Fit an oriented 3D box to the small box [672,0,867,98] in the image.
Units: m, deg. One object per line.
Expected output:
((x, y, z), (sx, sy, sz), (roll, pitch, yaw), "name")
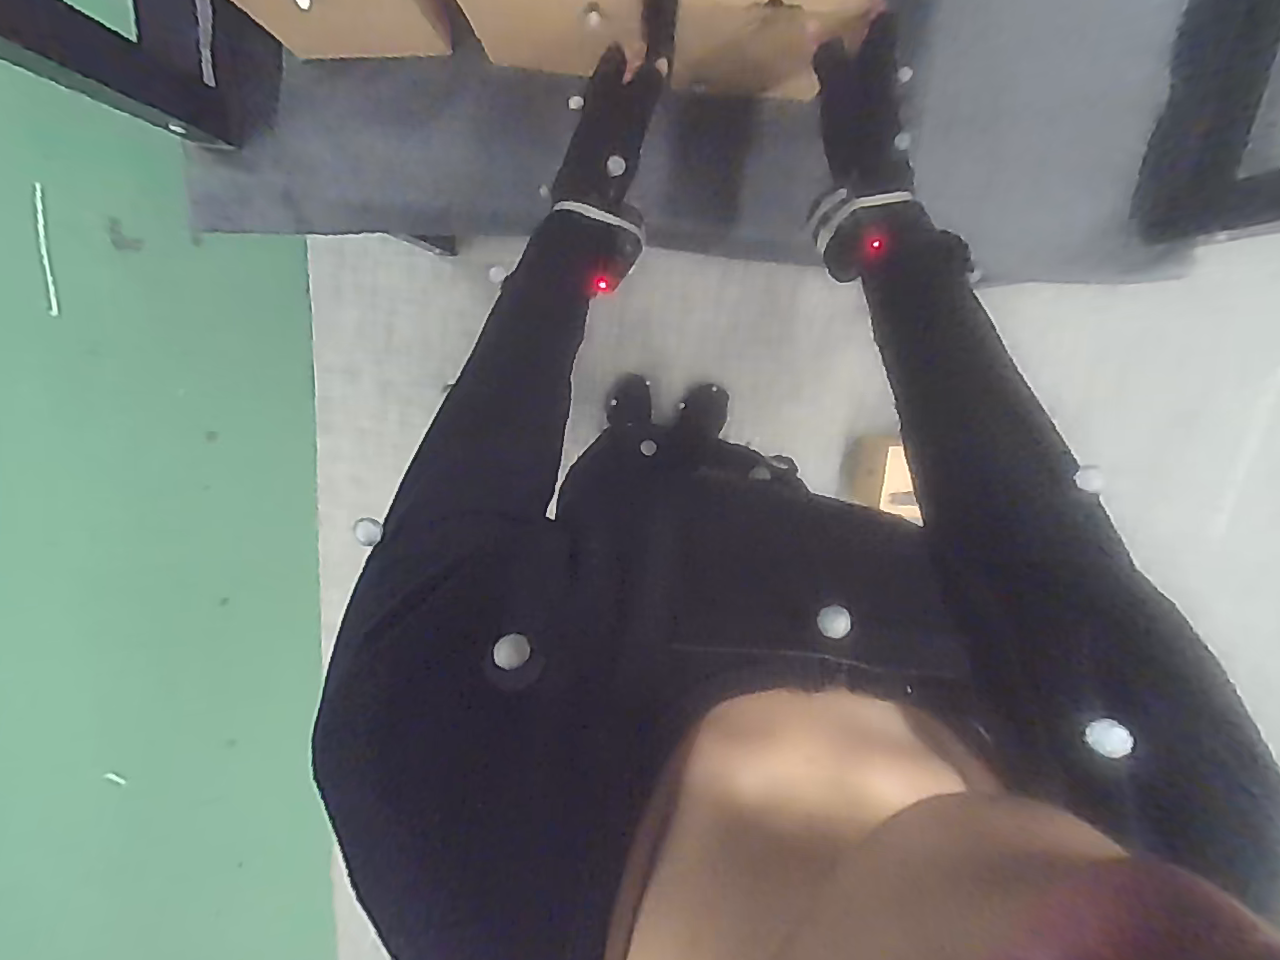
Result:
((0.120, -0.500, 0.518), (0.168, 0.176, 0.179), (5, 104, 0), "small box")
